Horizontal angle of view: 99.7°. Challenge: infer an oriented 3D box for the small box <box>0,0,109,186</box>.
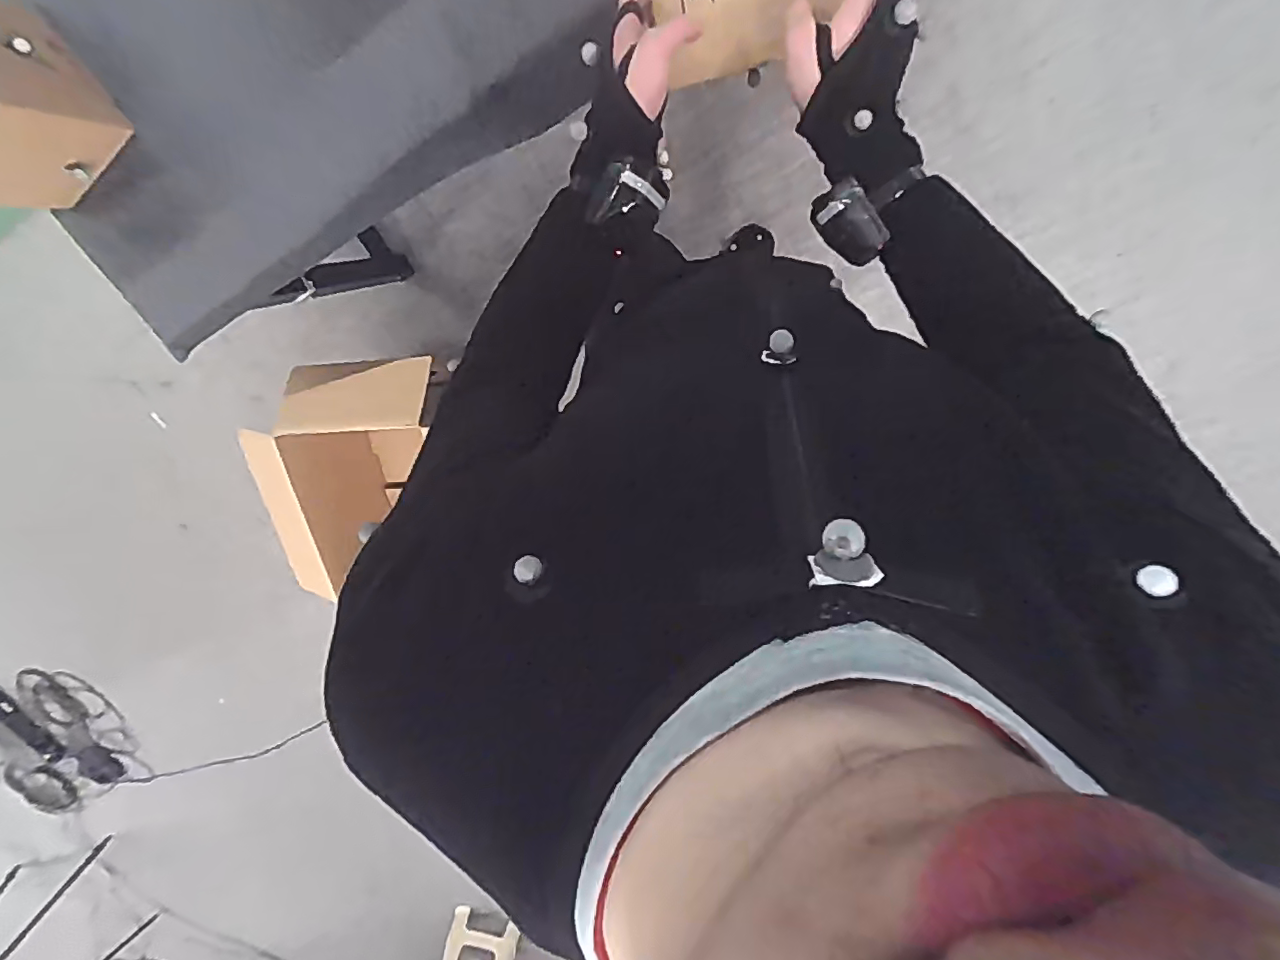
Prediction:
[{"bbox_3d":[-0.799,-0.475,0.634,0.179,0.176,0.168,-29,109,17],"label":"small box"}]
